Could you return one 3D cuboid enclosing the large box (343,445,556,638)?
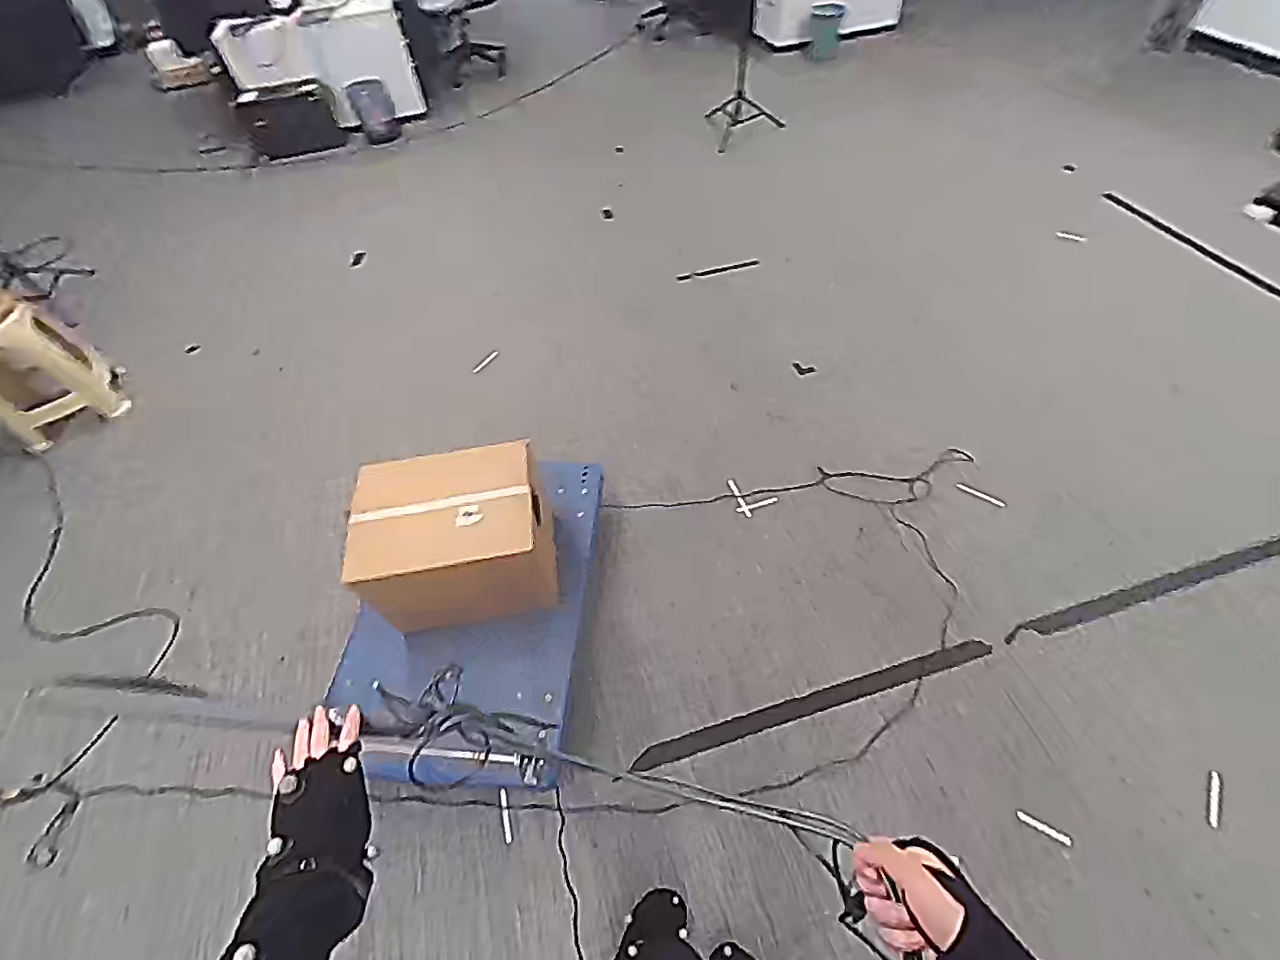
[{"bbox_3d":[-0.441,0.158,1.335,0.408,0.320,0.320,-10,54,-4],"label":"large box"}]
